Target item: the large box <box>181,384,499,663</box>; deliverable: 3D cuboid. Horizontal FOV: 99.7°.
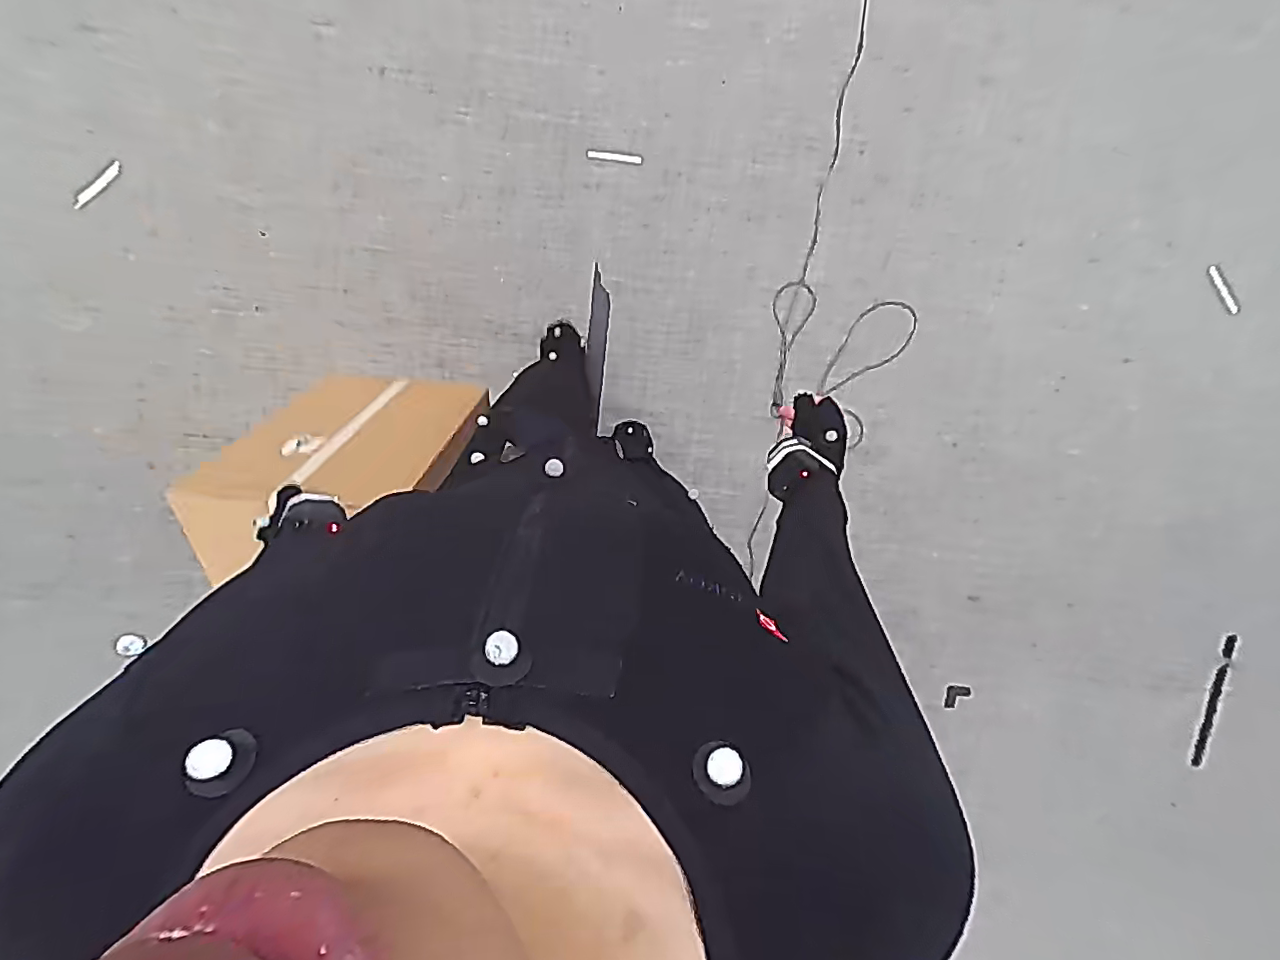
[{"bbox_3d":[-0.467,0.057,0.971,0.320,0.408,0.320,3,123,3],"label":"large box"}]
